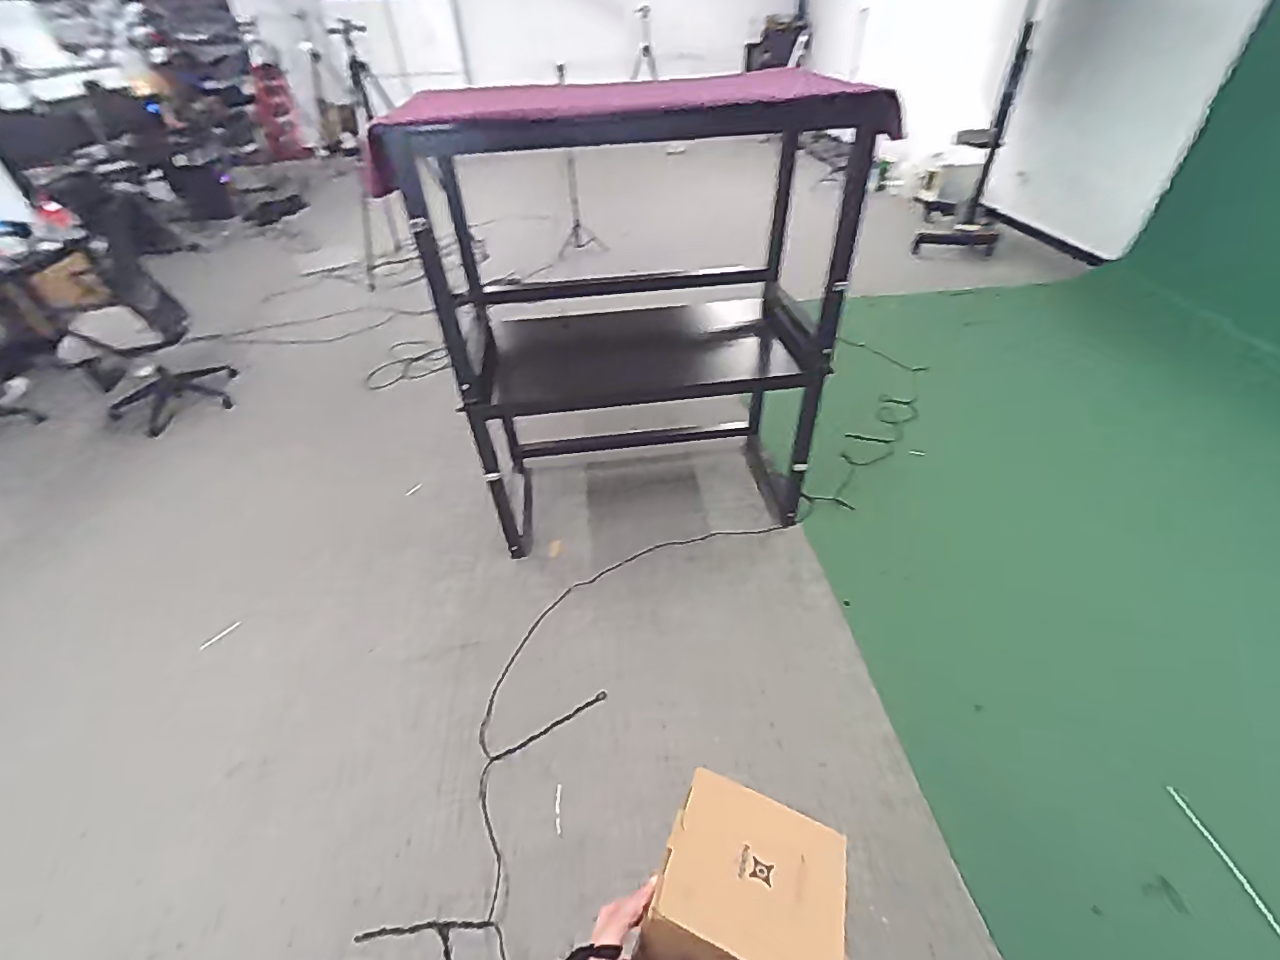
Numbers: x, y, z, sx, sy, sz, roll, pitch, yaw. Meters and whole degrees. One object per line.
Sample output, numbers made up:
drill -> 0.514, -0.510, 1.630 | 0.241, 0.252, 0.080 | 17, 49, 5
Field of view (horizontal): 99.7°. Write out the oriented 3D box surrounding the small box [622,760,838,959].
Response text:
small box -> 0.094, 0.453, 0.576 | 0.179, 0.176, 0.168 | 19, 25, 15
